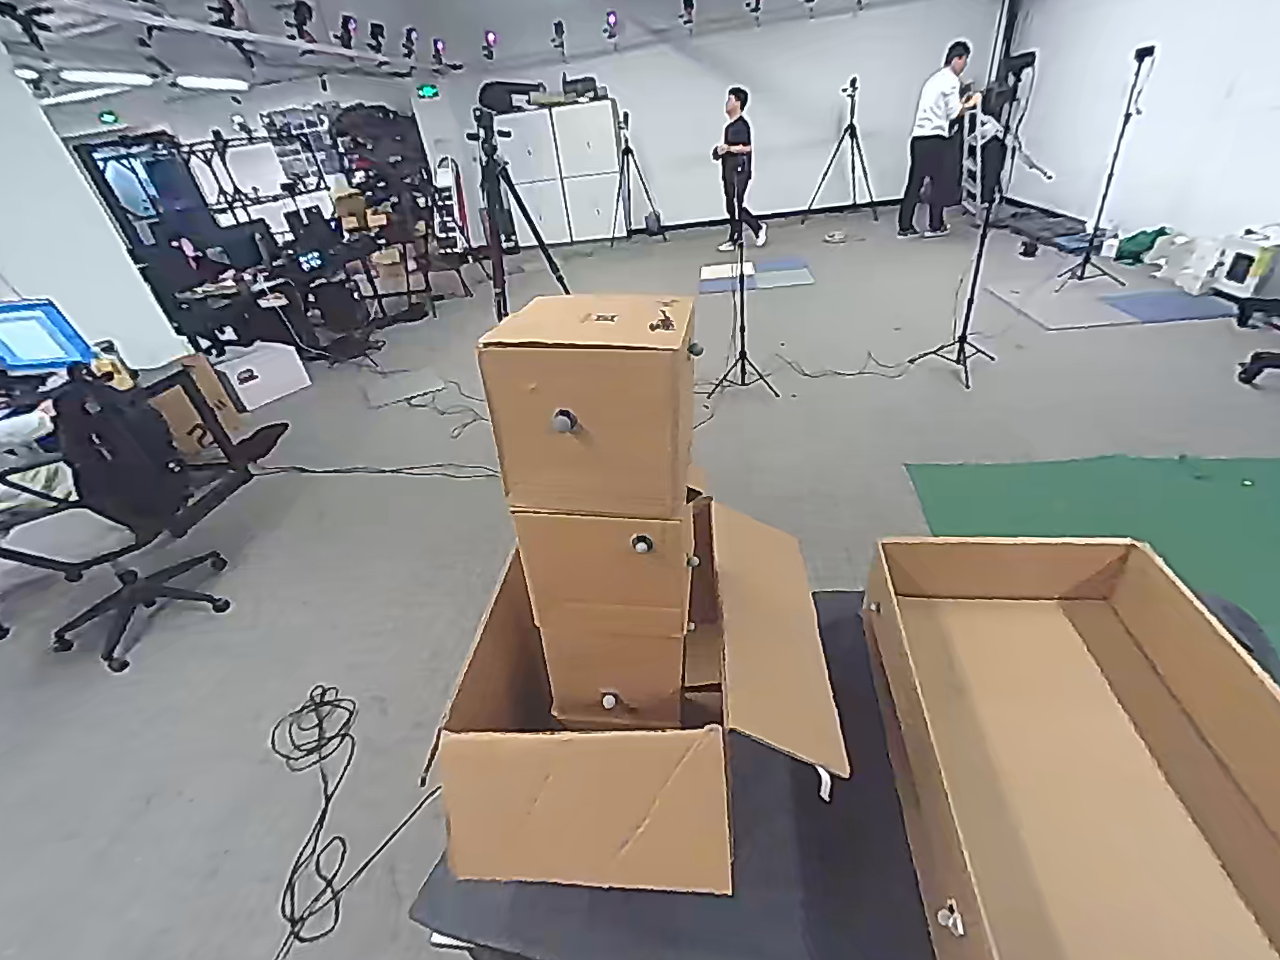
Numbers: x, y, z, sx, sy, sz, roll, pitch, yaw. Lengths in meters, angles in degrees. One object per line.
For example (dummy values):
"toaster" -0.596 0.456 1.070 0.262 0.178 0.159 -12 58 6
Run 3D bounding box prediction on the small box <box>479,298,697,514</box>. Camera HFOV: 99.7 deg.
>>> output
"small box" -0.036 -0.079 0.550 0.179 0.176 0.168 3 33 9

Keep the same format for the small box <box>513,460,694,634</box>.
"small box" -0.028 0.061 0.636 0.179 0.176 0.168 2 33 8
